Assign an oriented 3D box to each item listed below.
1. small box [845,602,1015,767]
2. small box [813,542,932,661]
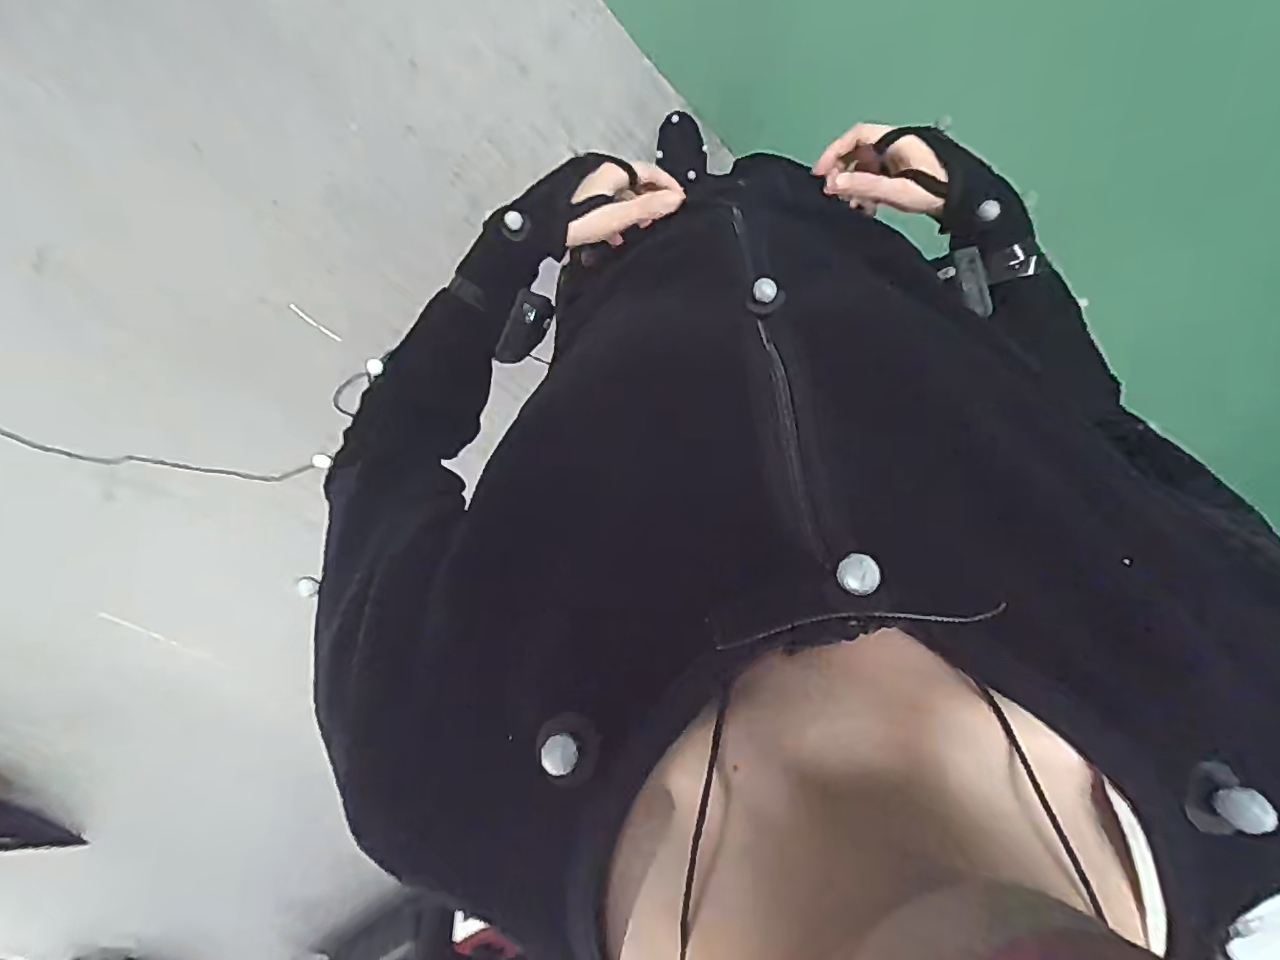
[{"bbox_3d":[0.473,0.343,0.916,0.179,0.176,0.168,-40,117,21],"label":"small box"},{"bbox_3d":[0.461,0.259,1.057,0.179,0.176,0.168,-40,117,21],"label":"small box"}]
